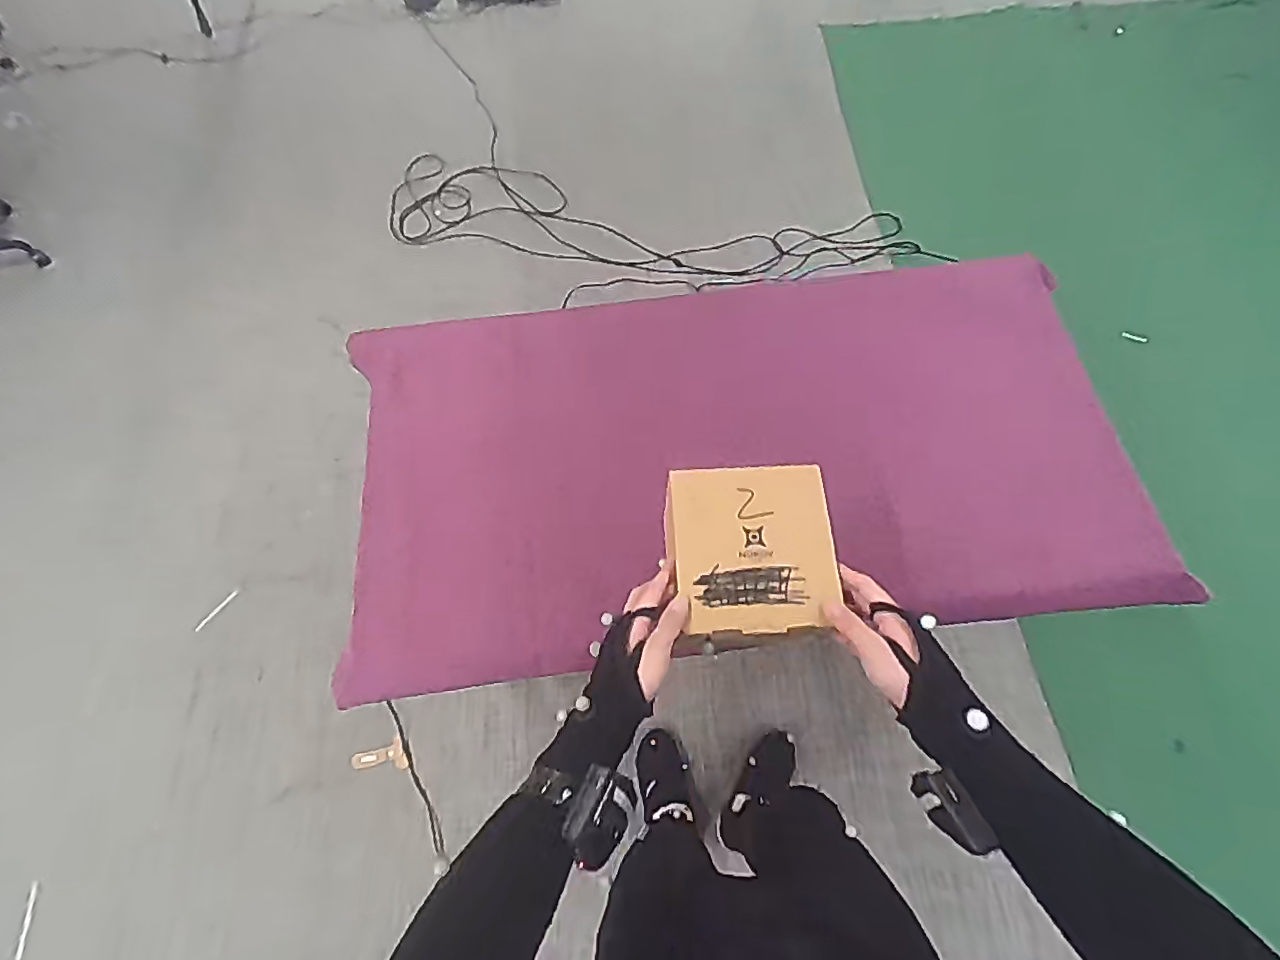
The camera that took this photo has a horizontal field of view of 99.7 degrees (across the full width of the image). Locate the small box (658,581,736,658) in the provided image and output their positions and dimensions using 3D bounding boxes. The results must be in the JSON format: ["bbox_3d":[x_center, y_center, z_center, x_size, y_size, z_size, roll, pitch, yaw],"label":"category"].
[{"bbox_3d":[0.141,0.365,1.400,0.179,0.176,0.168,-6,67,0],"label":"small box"}]

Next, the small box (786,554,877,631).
[{"bbox_3d":[0.488,0.297,1.411,0.179,0.176,0.168,-4,68,1],"label":"small box"}]
